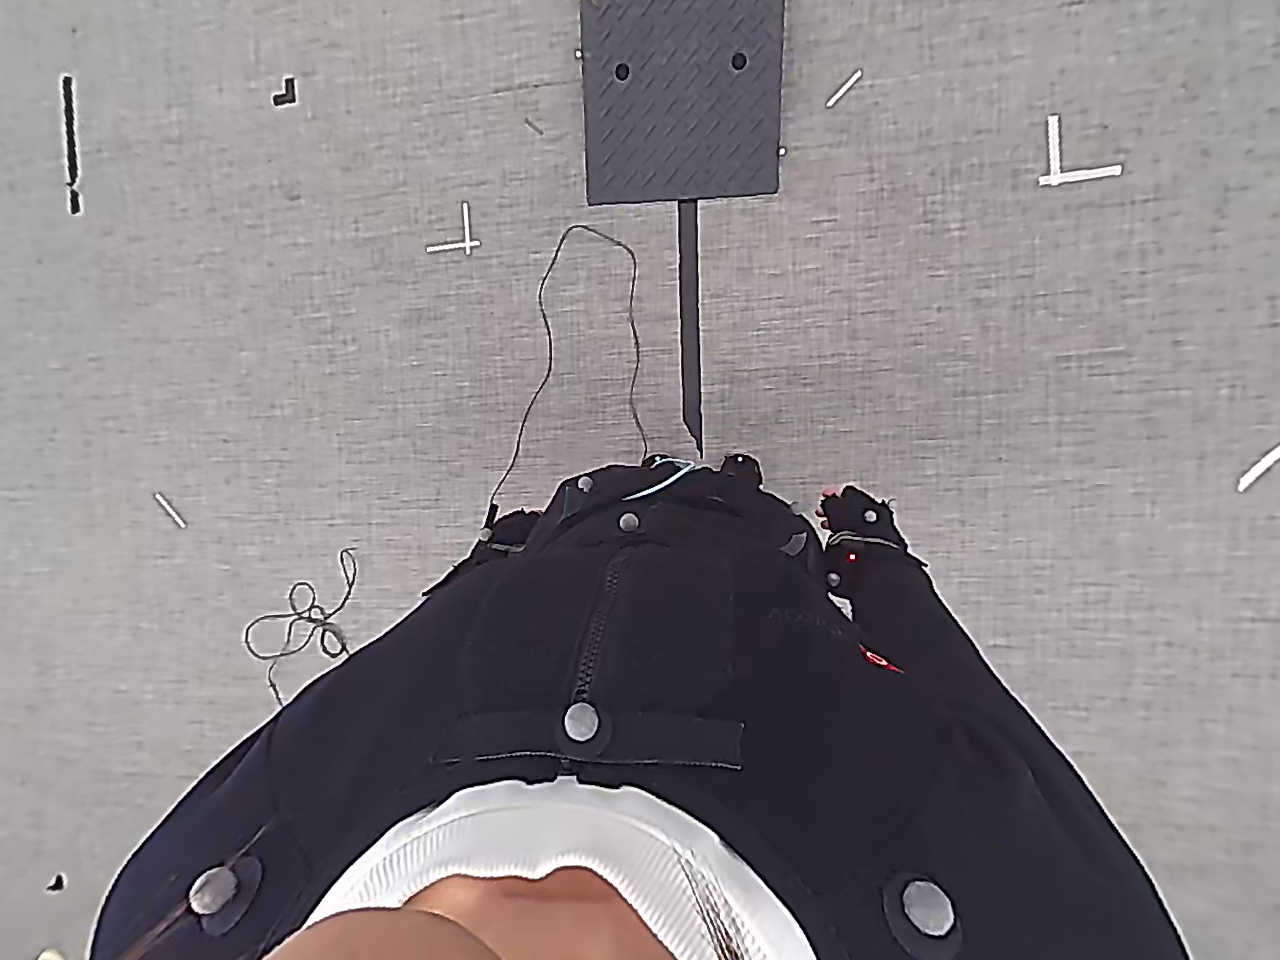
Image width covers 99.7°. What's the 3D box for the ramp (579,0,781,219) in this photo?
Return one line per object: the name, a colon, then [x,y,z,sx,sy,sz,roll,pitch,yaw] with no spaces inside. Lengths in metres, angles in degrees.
ramp: [0.093,-1.191,1.311,0.509,0.206,0.991,-3,92,8]
